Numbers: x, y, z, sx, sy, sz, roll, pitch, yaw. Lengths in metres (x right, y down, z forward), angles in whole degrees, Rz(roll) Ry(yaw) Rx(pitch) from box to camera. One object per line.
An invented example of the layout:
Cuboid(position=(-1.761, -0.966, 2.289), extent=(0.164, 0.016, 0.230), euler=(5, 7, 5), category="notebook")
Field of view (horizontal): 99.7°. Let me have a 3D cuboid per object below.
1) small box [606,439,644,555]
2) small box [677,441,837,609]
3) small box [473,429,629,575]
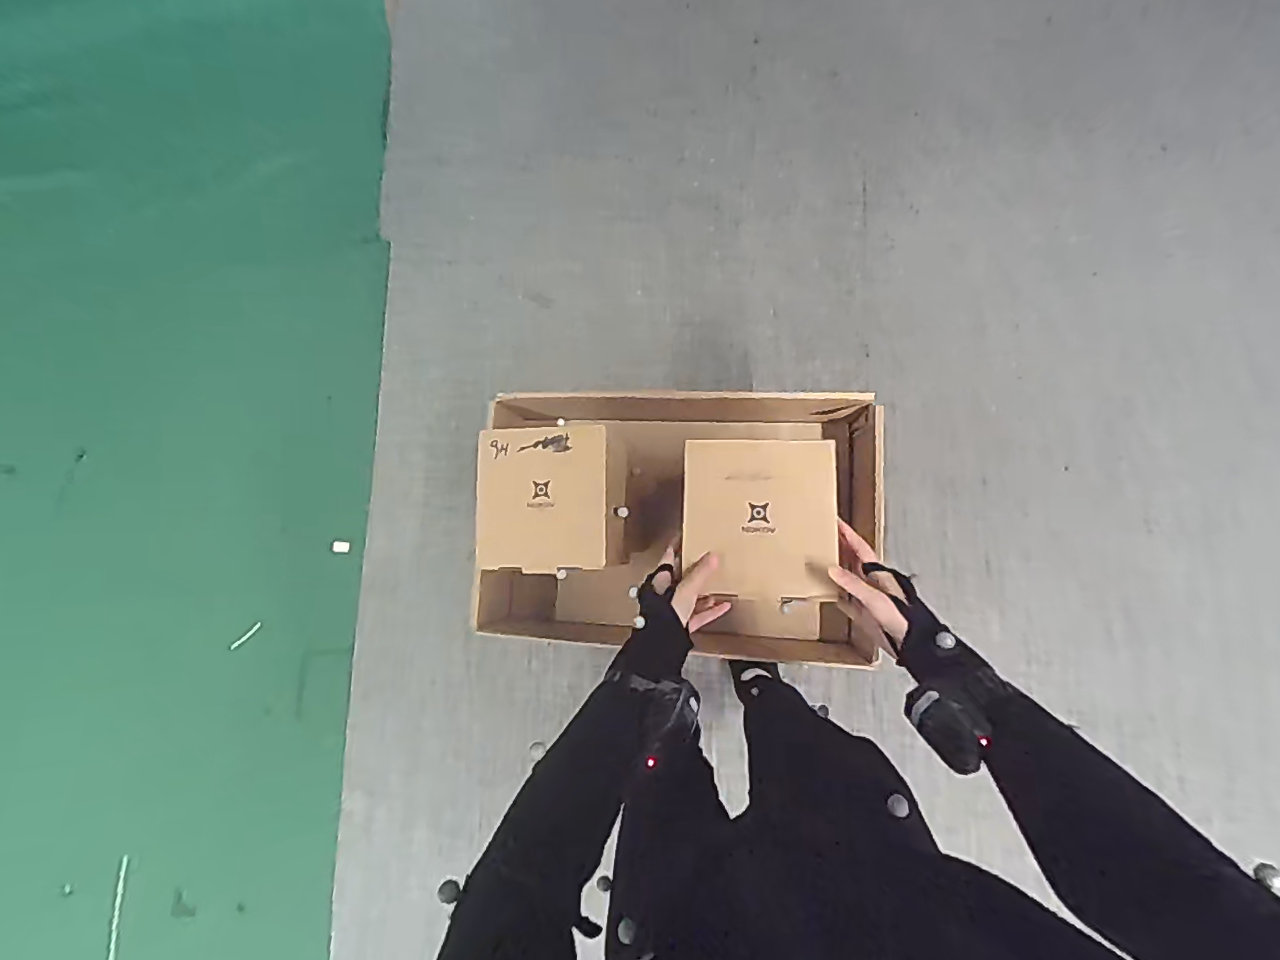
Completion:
Cuboid(position=(-0.088, 0.035, 0.893), extent=(0.168, 0.176, 0.179), euler=(-2, 83, 10), category="small box")
Cuboid(position=(0.137, 0.059, 0.654), extent=(0.168, 0.176, 0.179), euler=(2, 78, 8), category="small box")
Cuboid(position=(-0.109, 0.033, 0.730), extent=(0.168, 0.176, 0.179), euler=(-1, 84, 9), category="small box")
